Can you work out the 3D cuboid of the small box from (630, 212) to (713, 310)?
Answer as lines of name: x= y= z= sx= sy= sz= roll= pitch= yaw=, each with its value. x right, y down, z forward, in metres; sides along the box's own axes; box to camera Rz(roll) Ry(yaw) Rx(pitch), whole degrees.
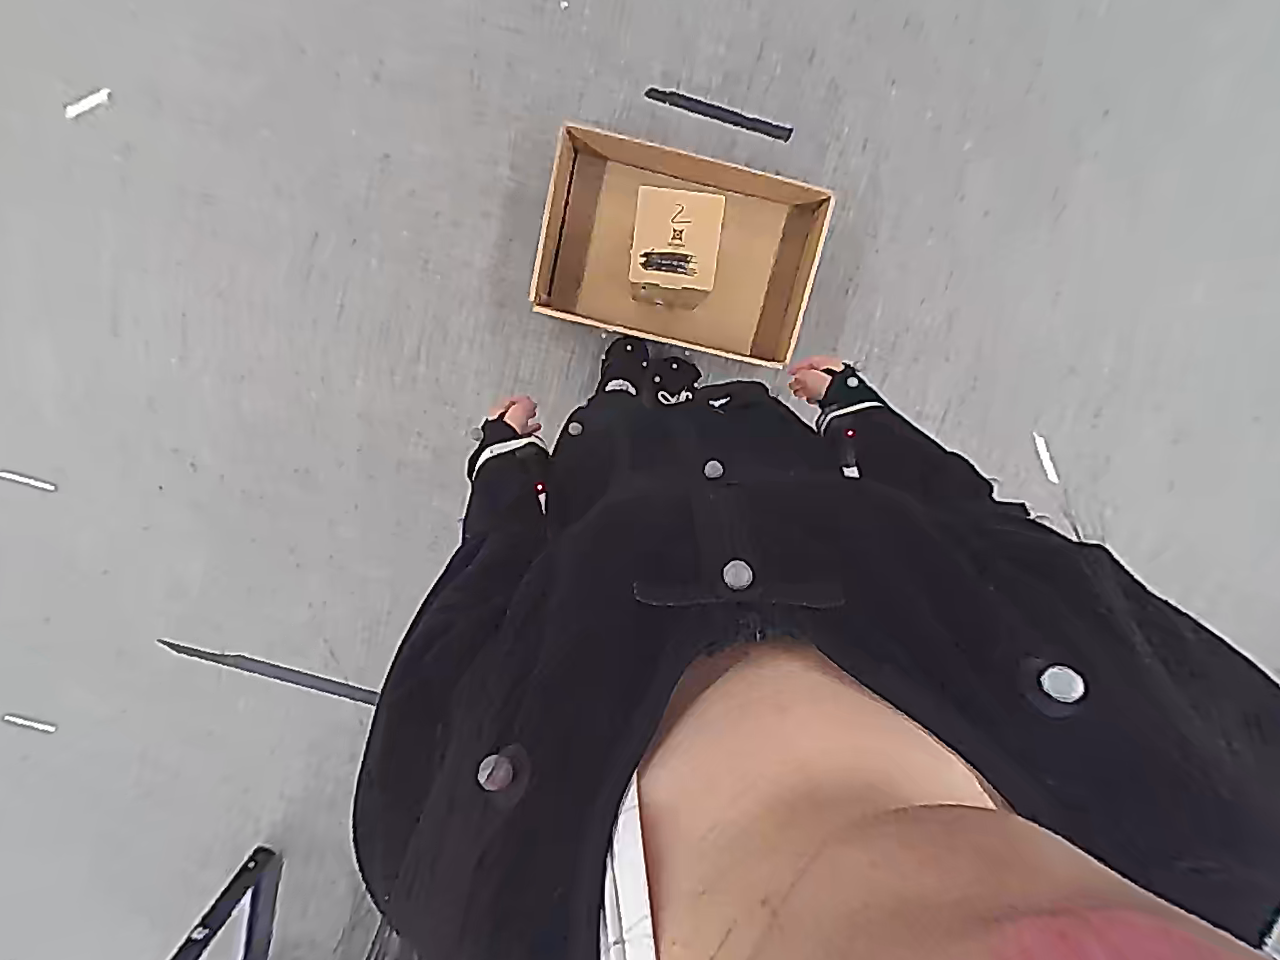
small box: x=0.068 y=-0.506 z=1.271 sx=0.168 sy=0.176 sz=0.179 roll=8 pitch=103 yaw=-1
